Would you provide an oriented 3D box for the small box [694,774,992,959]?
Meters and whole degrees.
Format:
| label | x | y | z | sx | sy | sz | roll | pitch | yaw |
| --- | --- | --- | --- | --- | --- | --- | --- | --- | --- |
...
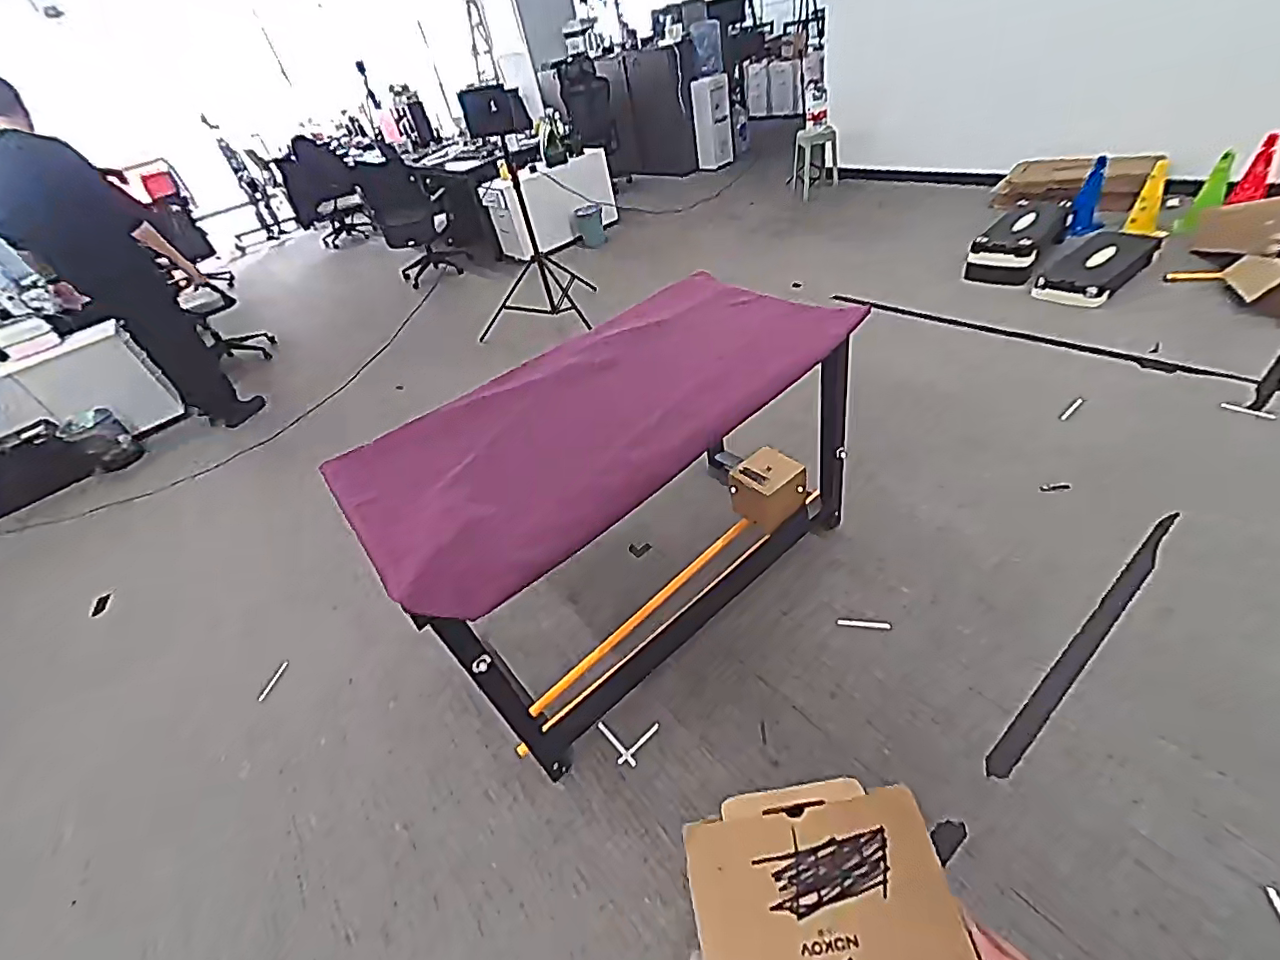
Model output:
| label | x | y | z | sx | sy | sz | roll | pitch | yaw |
| --- | --- | --- | --- | --- | --- | --- | --- | --- | --- |
| small box | 0.140 | 0.336 | 0.390 | 0.168 | 0.176 | 0.179 | -12 | 50 | 5 |
